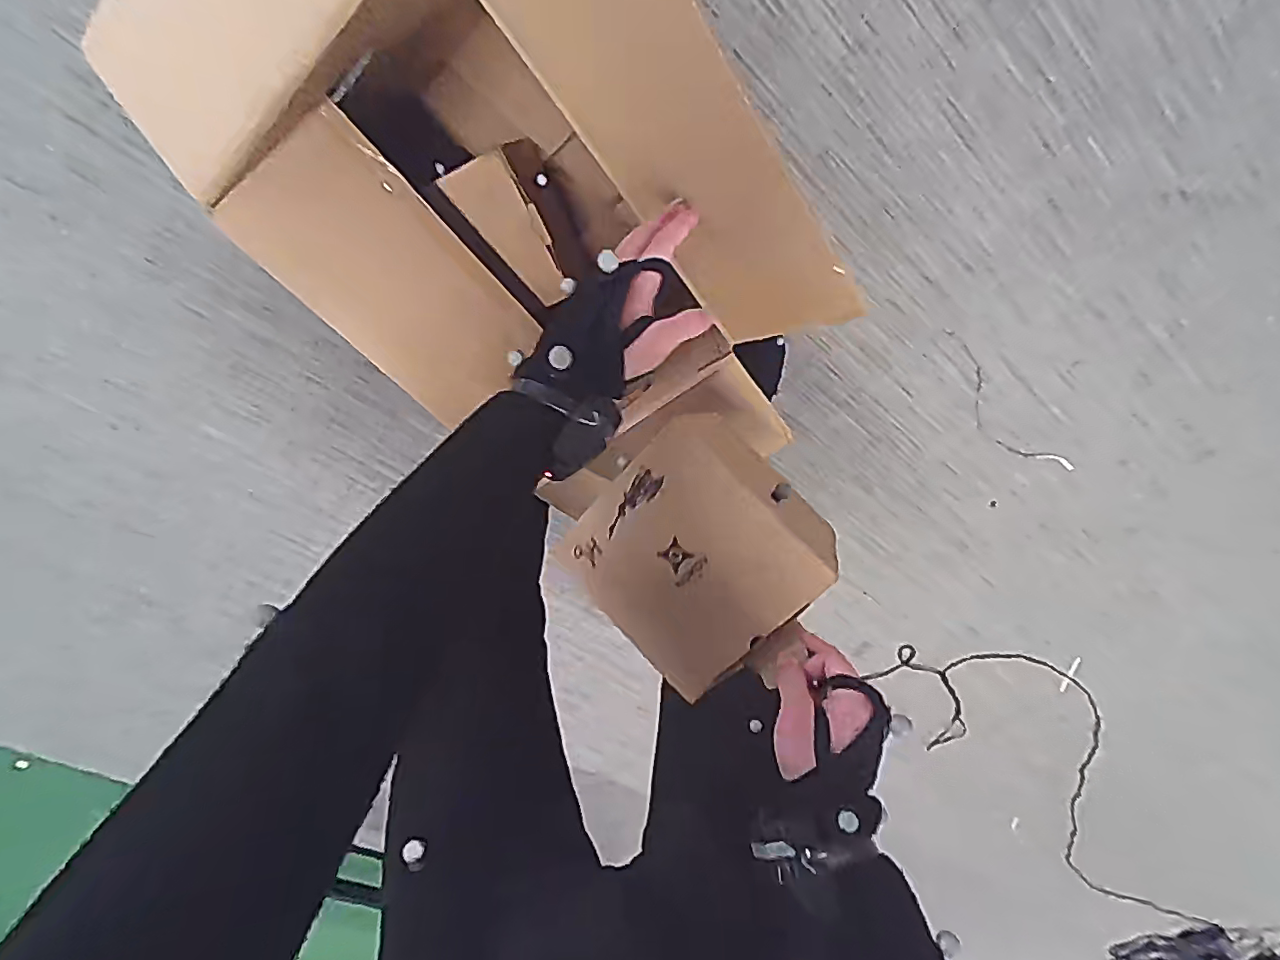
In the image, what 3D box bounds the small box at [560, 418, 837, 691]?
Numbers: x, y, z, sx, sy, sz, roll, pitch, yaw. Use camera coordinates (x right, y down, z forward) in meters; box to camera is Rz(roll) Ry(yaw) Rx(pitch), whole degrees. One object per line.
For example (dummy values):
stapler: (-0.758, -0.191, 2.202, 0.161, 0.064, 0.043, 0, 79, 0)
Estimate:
small box: (0.065, 0.053, 0.514, 0.179, 0.176, 0.168, 45, 109, 10)
